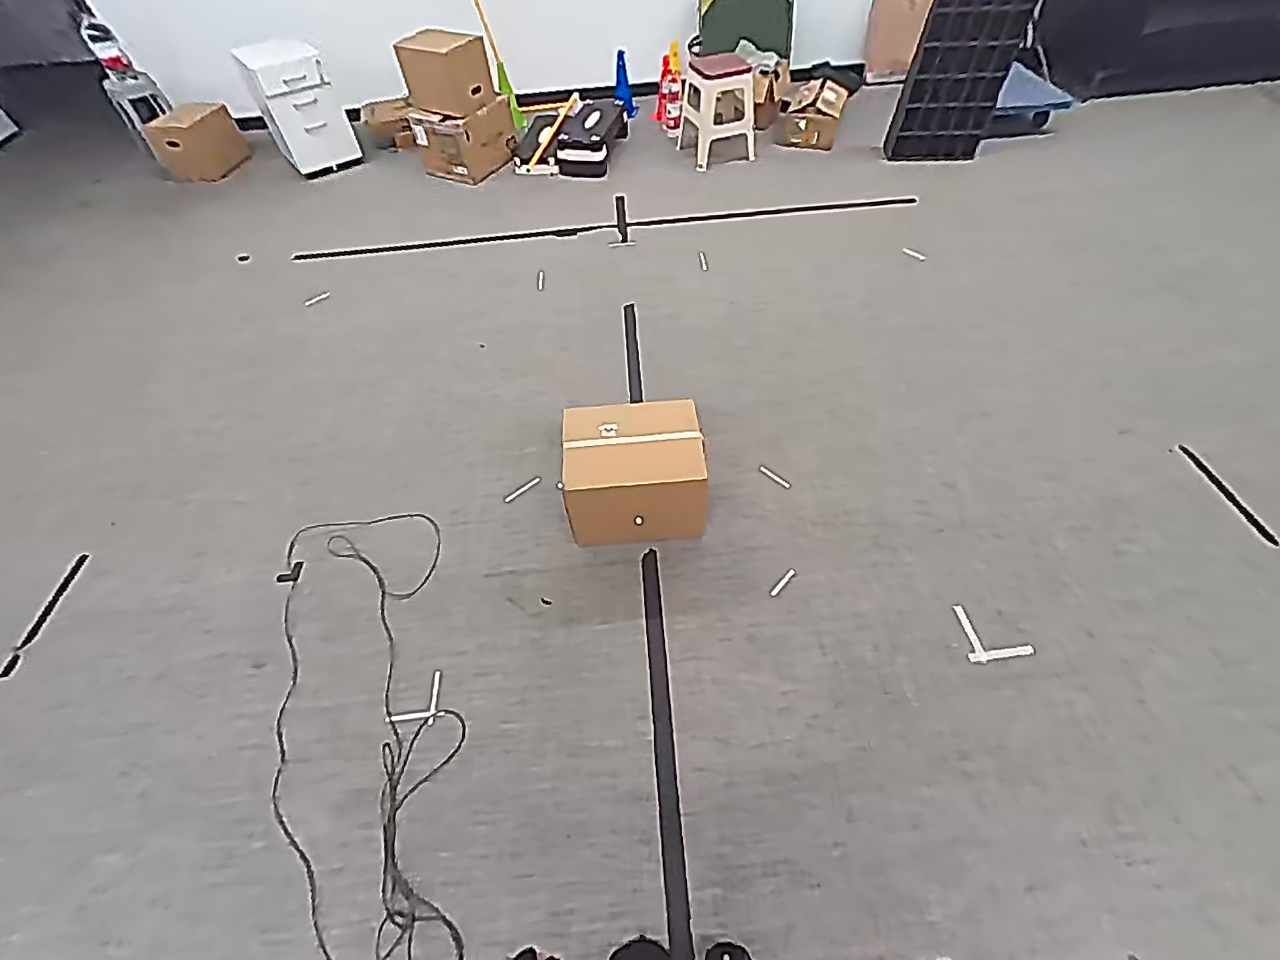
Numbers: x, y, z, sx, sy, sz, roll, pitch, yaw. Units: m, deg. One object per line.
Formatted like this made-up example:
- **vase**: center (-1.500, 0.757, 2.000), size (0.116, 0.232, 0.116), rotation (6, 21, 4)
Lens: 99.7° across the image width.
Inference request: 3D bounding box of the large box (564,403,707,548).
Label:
- **large box**: center (-0.014, -0.007, 1.693), size (0.408, 0.320, 0.320), rotation (-5, 52, 0)
